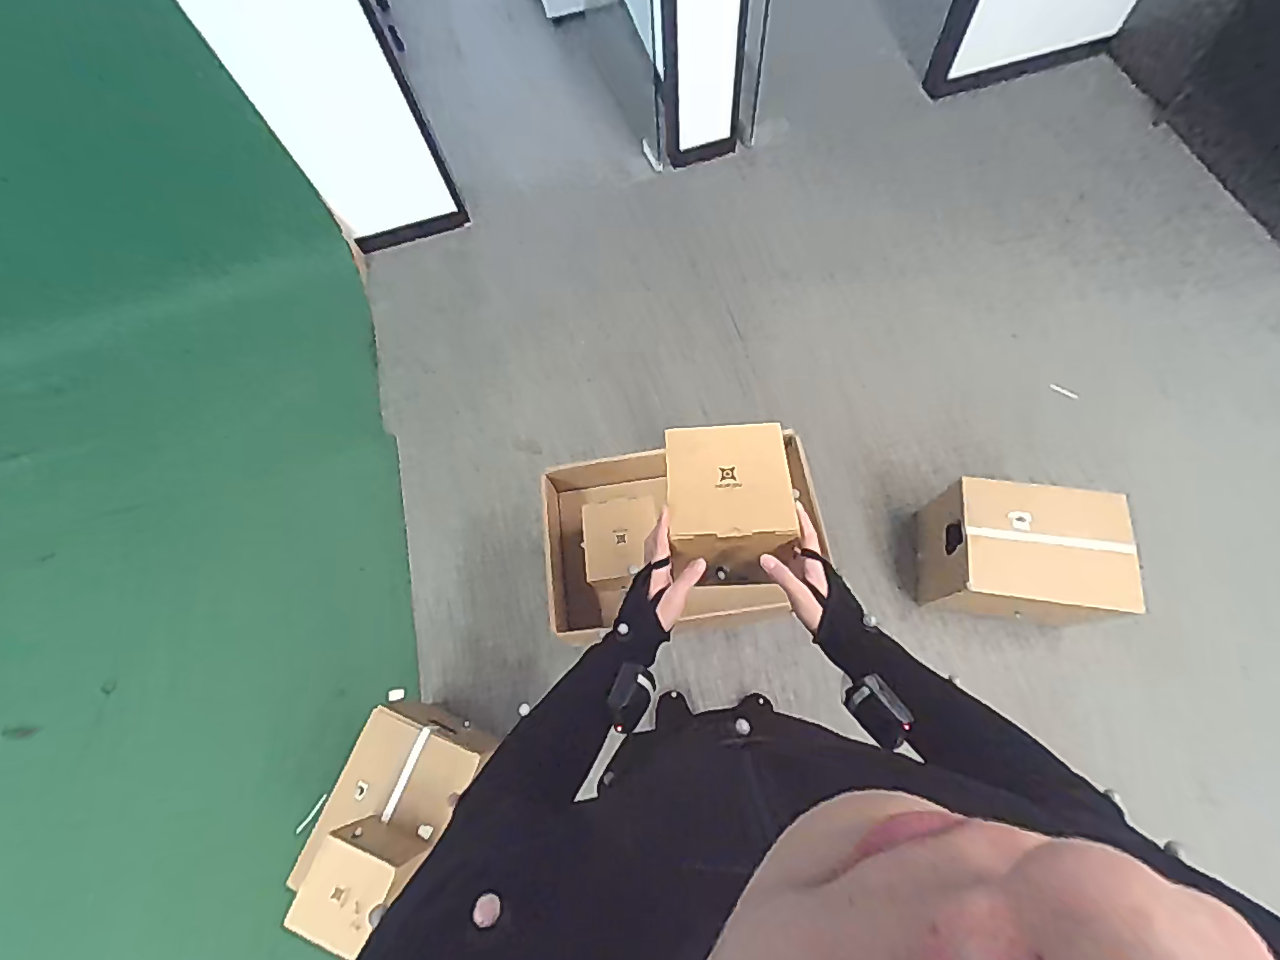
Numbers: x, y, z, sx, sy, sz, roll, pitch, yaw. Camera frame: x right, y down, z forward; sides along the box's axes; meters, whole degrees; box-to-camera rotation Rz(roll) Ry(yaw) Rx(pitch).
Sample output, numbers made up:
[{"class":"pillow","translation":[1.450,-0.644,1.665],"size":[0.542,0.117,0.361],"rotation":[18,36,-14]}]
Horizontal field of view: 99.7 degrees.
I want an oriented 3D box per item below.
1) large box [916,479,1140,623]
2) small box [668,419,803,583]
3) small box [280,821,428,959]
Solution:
[{"class":"large box","translation":[1.039,0.209,1.507],"size":[0.408,0.320,0.320],"rotation":[6,69,8]},{"class":"small box","translation":[0.125,0.034,0.782],"size":[0.168,0.176,0.179],"rotation":[-4,57,3]},{"class":"small box","translation":[-0.579,0.836,1.120],"size":[0.179,0.176,0.168],"rotation":[18,71,10]}]
